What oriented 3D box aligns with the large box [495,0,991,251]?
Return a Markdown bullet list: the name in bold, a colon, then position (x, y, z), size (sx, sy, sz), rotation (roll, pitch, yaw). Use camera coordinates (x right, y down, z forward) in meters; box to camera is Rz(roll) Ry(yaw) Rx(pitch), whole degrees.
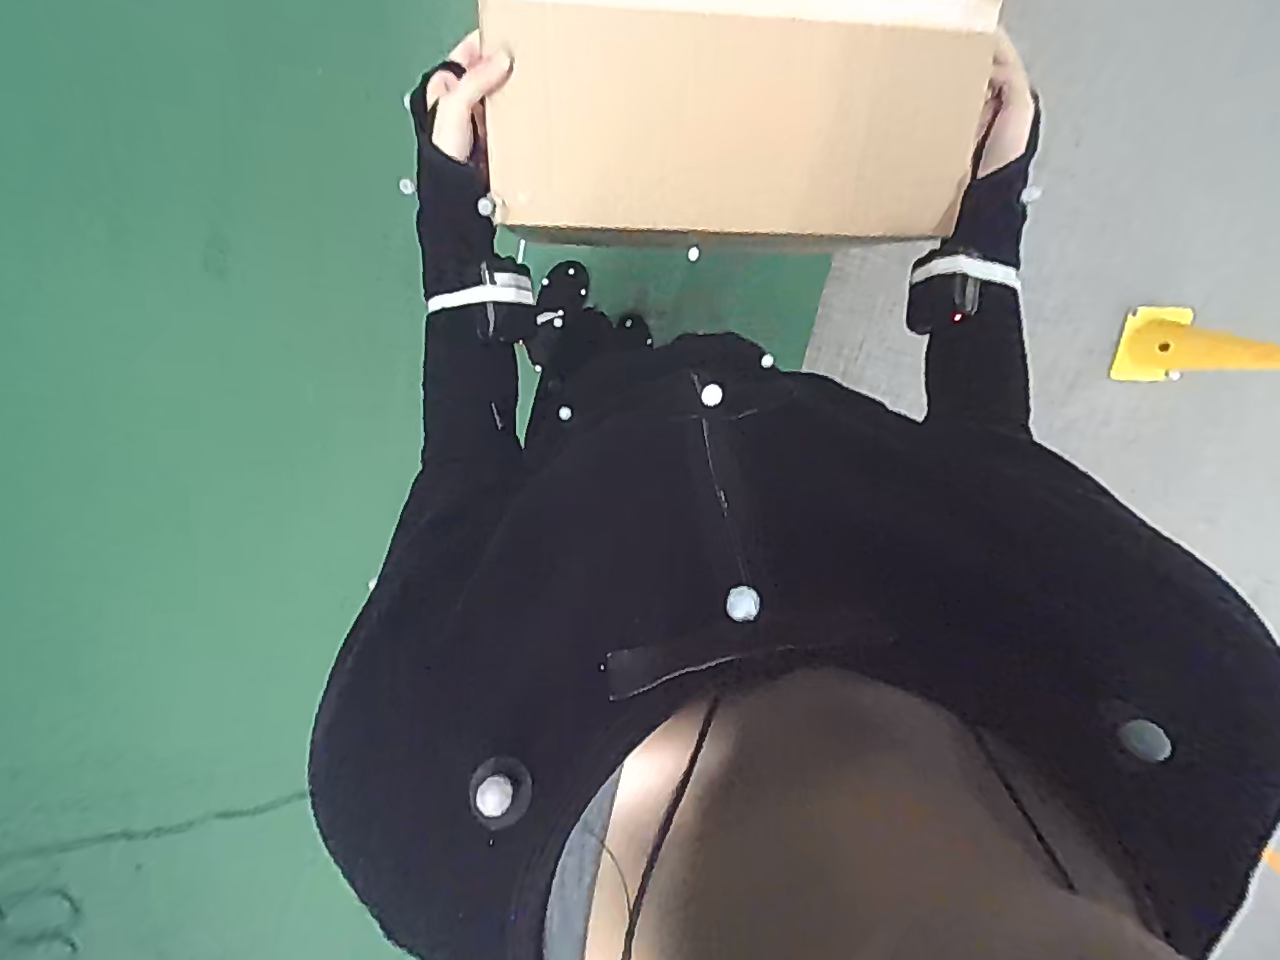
- **large box**: position (0.074, -0.415, 0.568), size (0.408, 0.320, 0.320), rotation (0, 109, -6)
